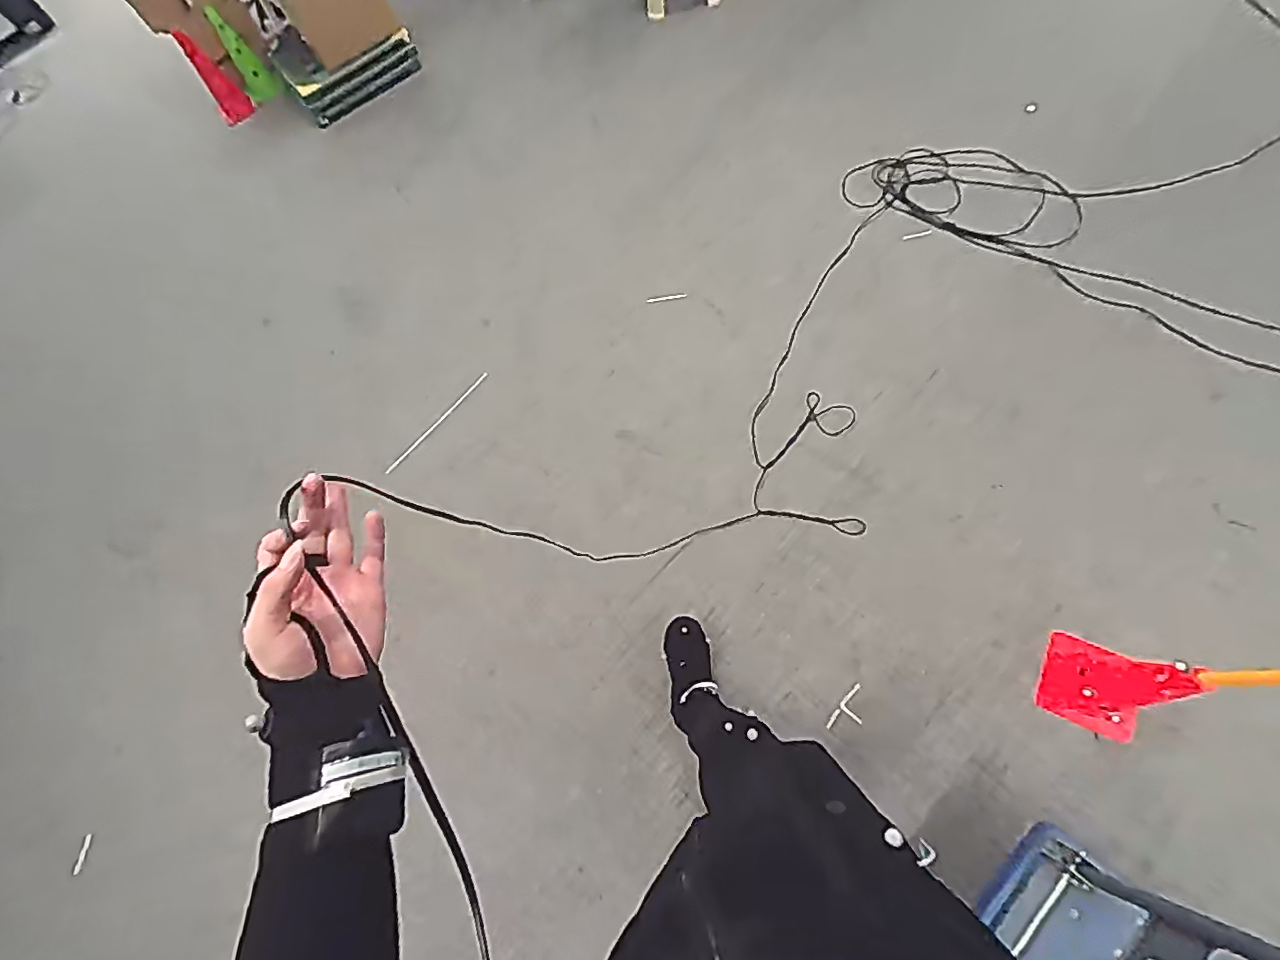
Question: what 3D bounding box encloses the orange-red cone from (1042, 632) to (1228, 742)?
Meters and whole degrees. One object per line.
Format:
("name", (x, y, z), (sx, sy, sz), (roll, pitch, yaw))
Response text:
("orange-red cone", (1.048, 0.418, 1.121), (0.198, 0.360, 0.199), (23, 72, 17))
